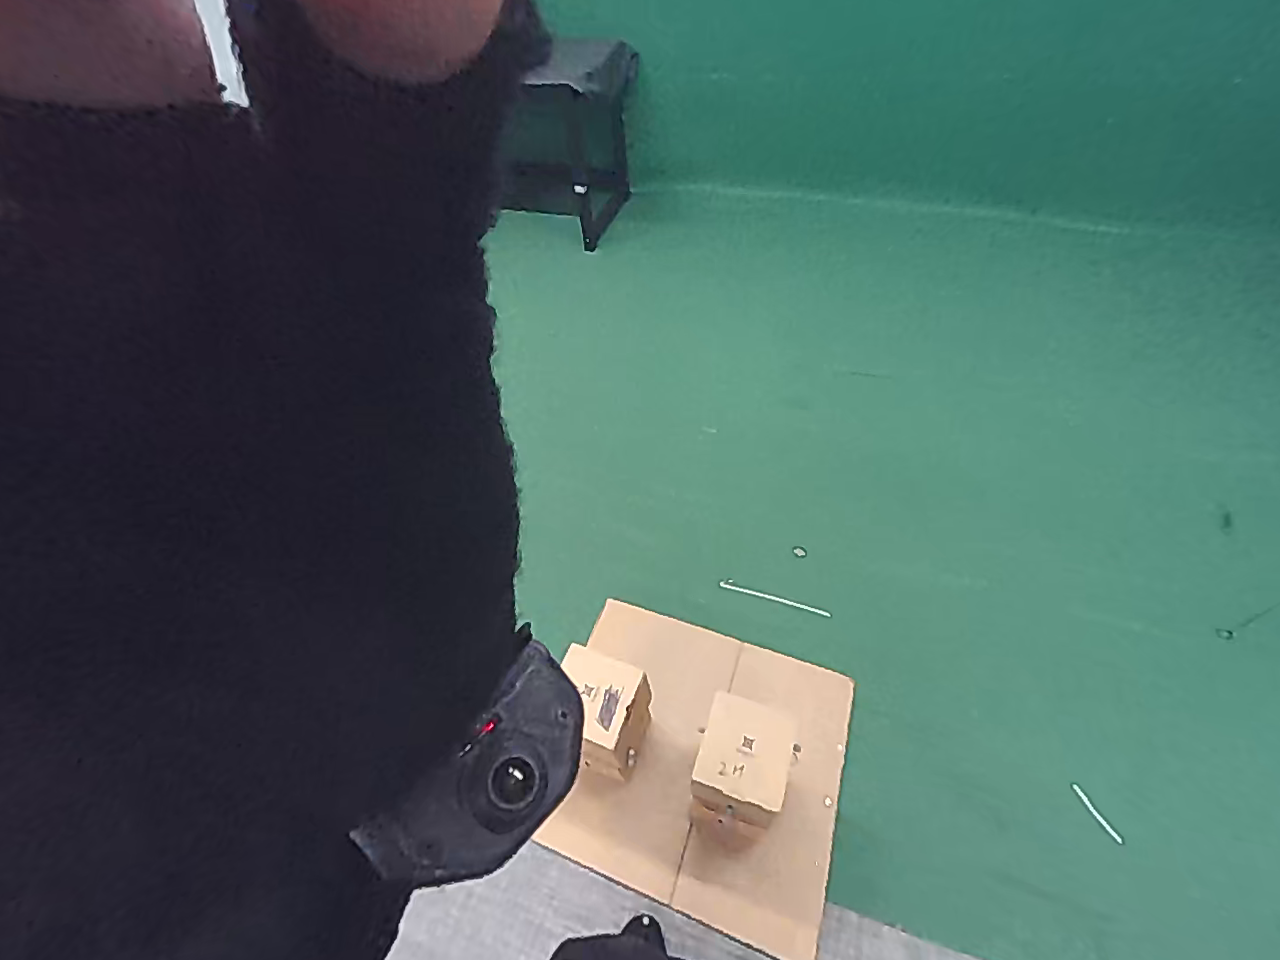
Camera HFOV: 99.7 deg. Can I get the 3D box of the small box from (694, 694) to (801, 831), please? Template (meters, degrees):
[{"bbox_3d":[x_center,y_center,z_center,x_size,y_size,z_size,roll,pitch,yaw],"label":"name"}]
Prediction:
[{"bbox_3d":[0.208,0.559,1.068,0.168,0.176,0.179,14,54,17],"label":"small box"}]

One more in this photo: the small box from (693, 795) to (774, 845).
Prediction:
[{"bbox_3d":[0.216,0.672,1.190,0.168,0.176,0.179,12,54,15],"label":"small box"}]

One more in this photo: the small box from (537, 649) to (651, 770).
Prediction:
[{"bbox_3d":[-0.086,0.492,1.149,0.179,0.176,0.168,15,54,20],"label":"small box"}]
